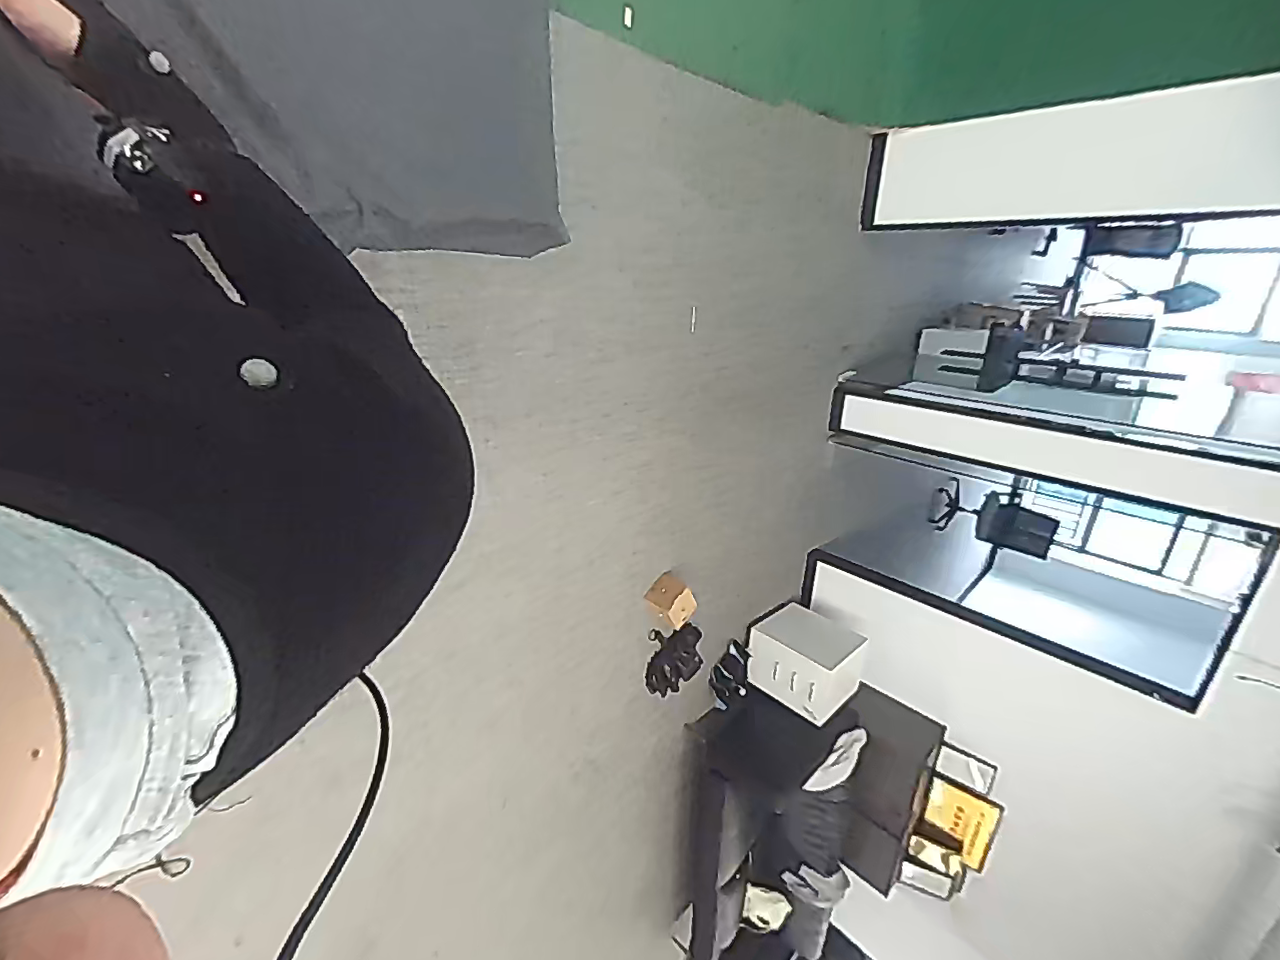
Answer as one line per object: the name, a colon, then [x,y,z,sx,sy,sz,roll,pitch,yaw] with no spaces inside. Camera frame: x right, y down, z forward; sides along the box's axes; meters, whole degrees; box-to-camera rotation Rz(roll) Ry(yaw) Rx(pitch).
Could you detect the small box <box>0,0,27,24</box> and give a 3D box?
small box: [-0.512,-0.400,0.316,0.168,0.176,0.179,-15,131,-36]
